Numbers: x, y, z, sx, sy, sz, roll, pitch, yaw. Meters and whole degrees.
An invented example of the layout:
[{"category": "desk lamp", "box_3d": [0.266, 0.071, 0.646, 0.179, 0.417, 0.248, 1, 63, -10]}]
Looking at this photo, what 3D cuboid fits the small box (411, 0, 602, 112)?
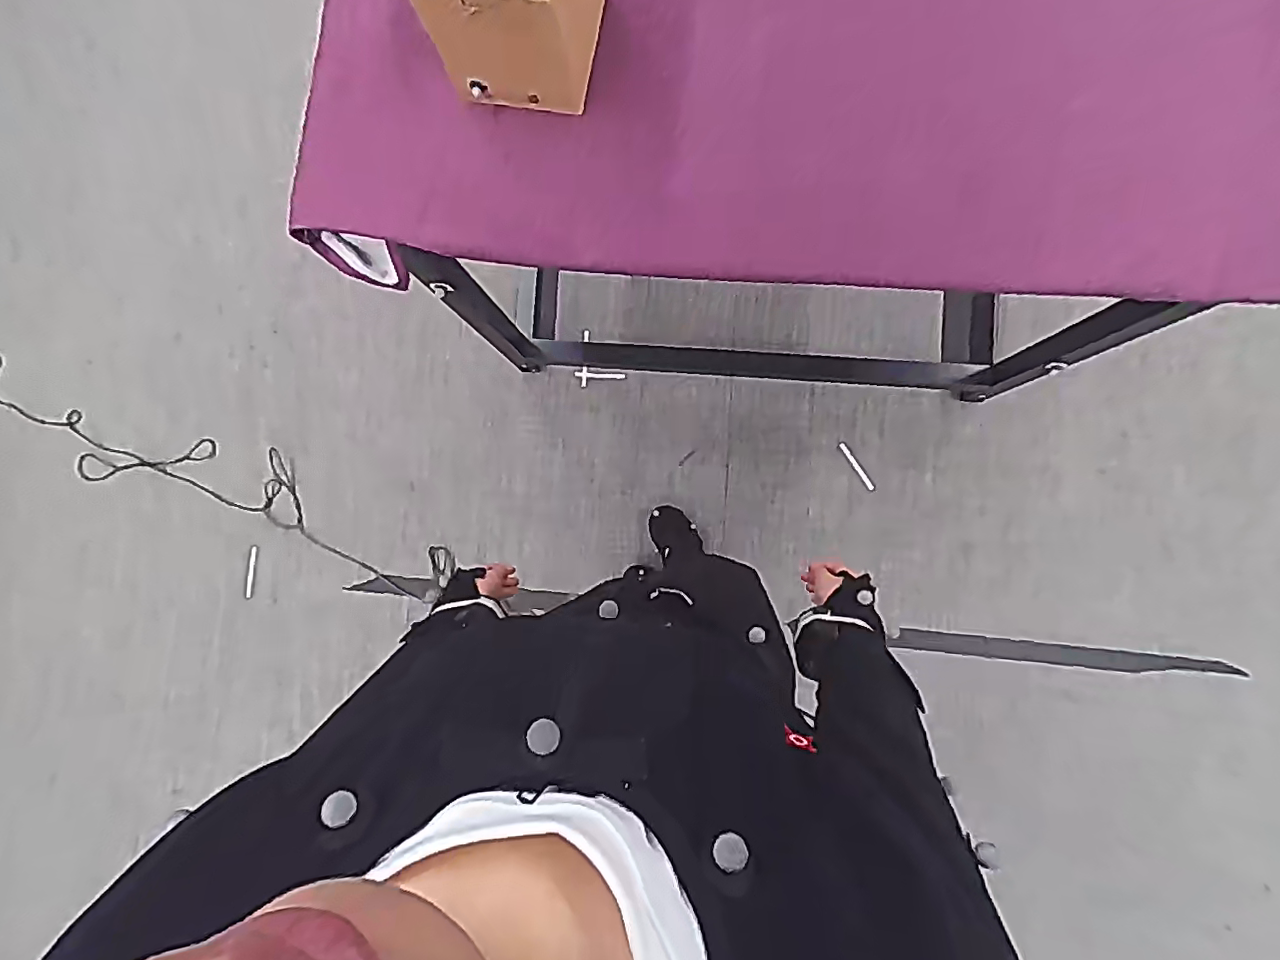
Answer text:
[{"category": "small box", "box_3d": [-0.146, -0.582, 0.642, 0.168, 0.176, 0.179, 11, 87, 4]}]
